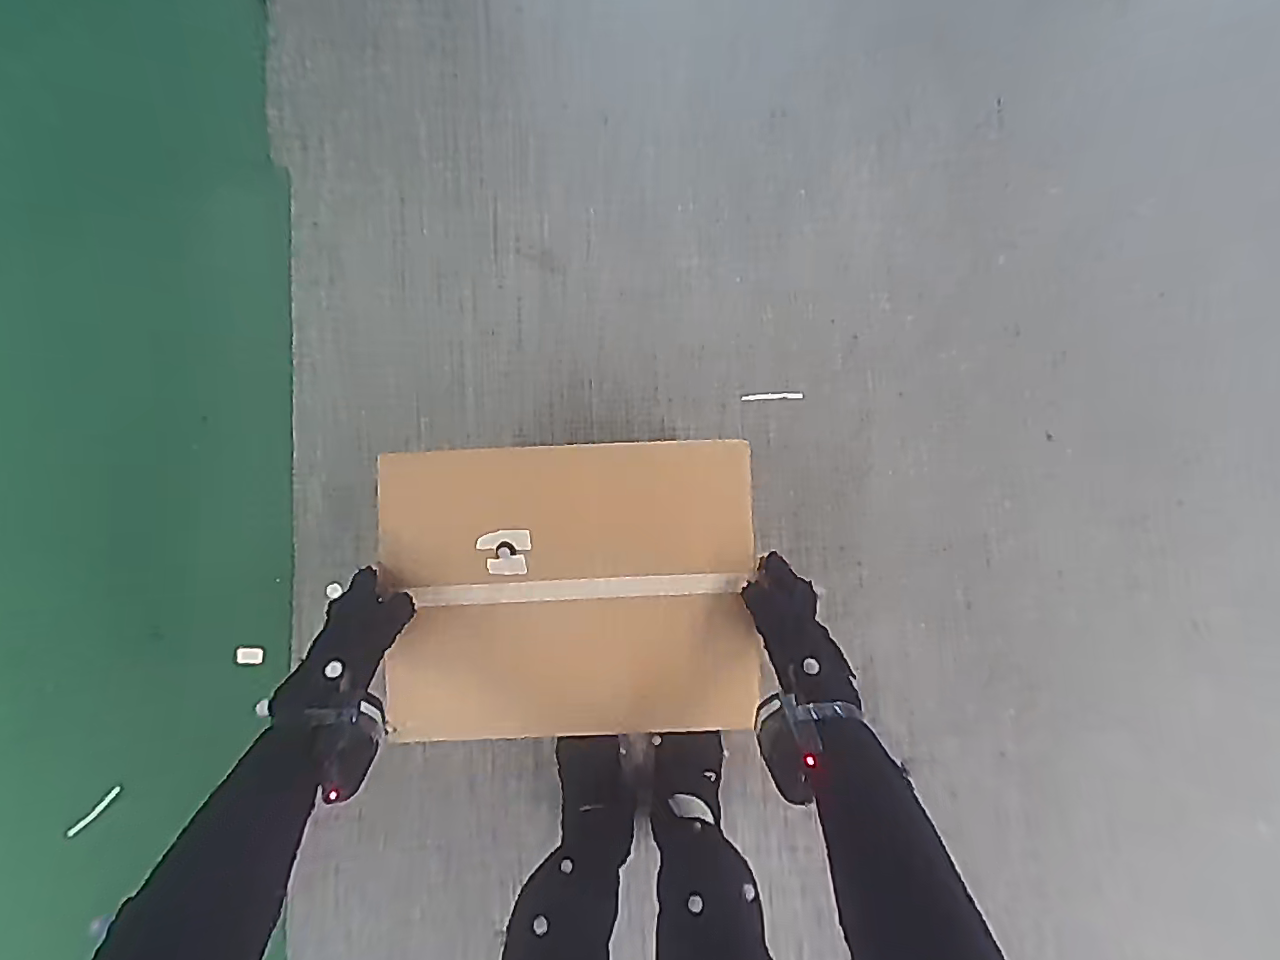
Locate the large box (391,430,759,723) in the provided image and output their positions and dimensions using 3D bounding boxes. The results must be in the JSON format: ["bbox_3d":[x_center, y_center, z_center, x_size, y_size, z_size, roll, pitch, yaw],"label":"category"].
[{"bbox_3d":[-0.071,0.109,0.746,0.408,0.320,0.320,-2,88,1],"label":"large box"}]
